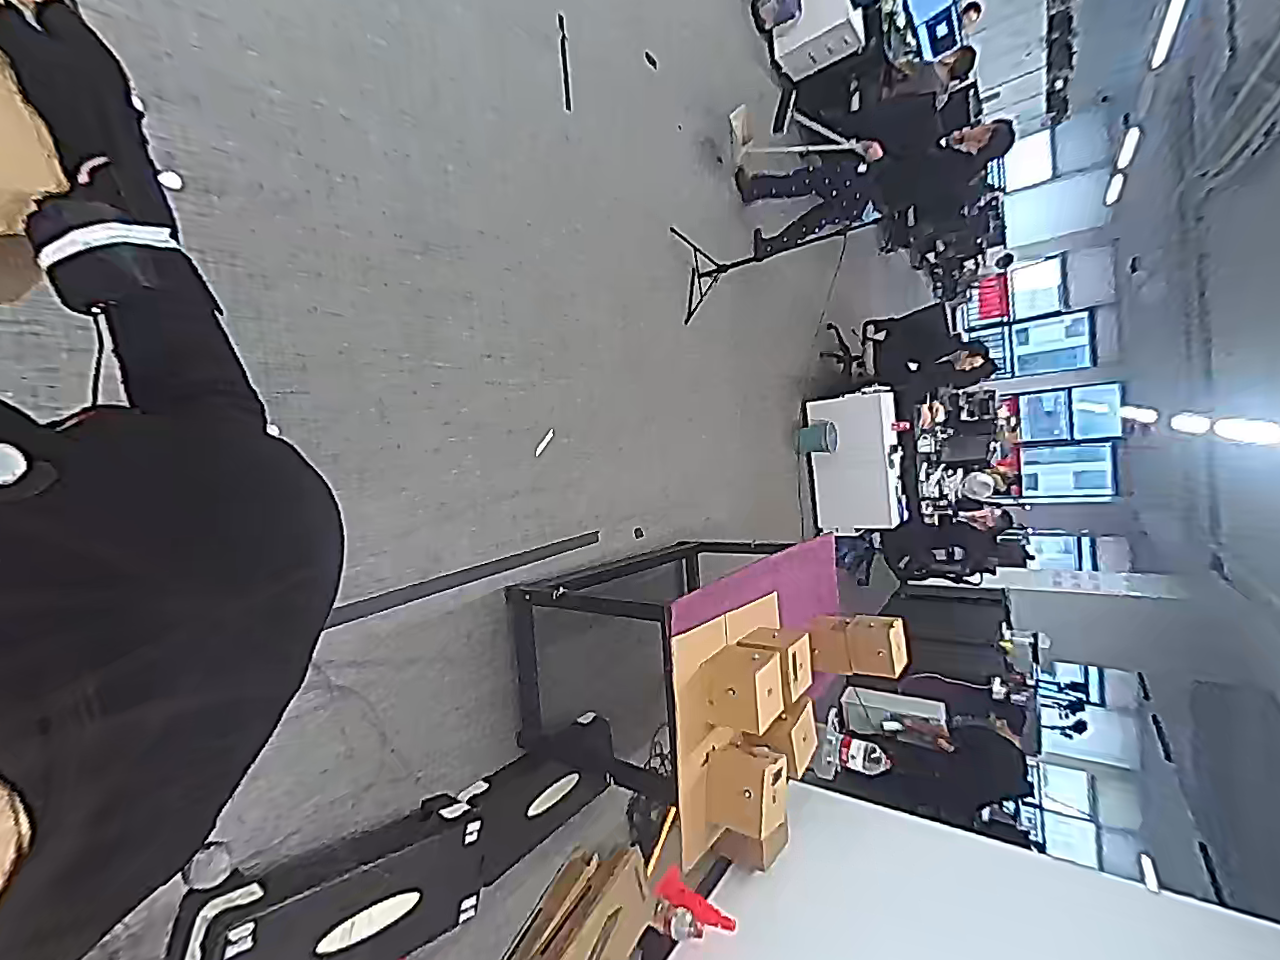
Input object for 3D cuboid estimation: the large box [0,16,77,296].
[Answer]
[{"bbox_3d":[-0.670,-0.276,0.293,0.408,0.320,0.320,-27,115,-52],"label":"large box"}]
